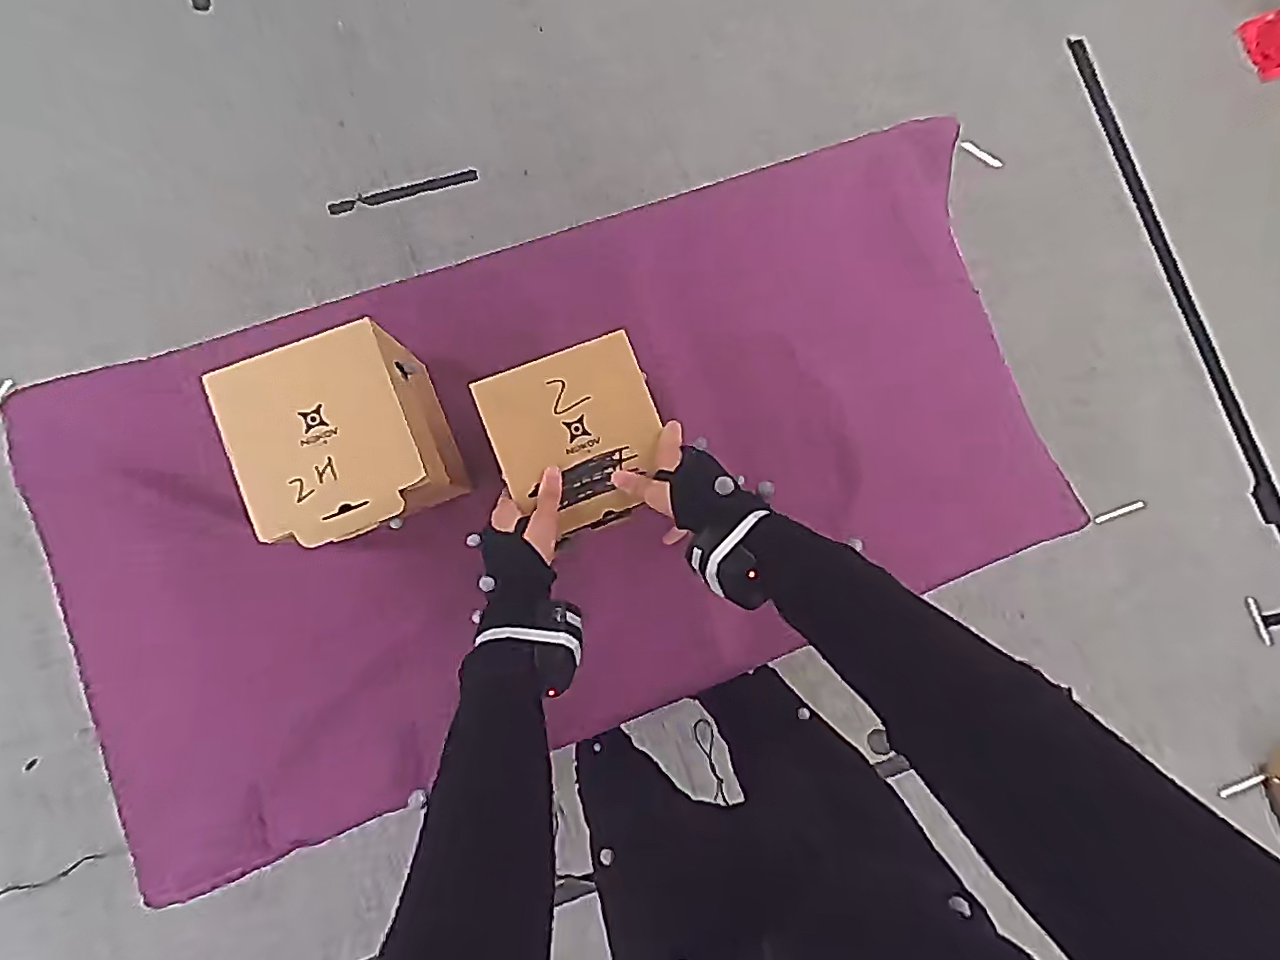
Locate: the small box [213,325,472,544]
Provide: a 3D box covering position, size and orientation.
[{"bbox_3d":[-0.308,-0.039,0.599,0.168,0.176,0.179,-22,87,-5],"label":"small box"}]
